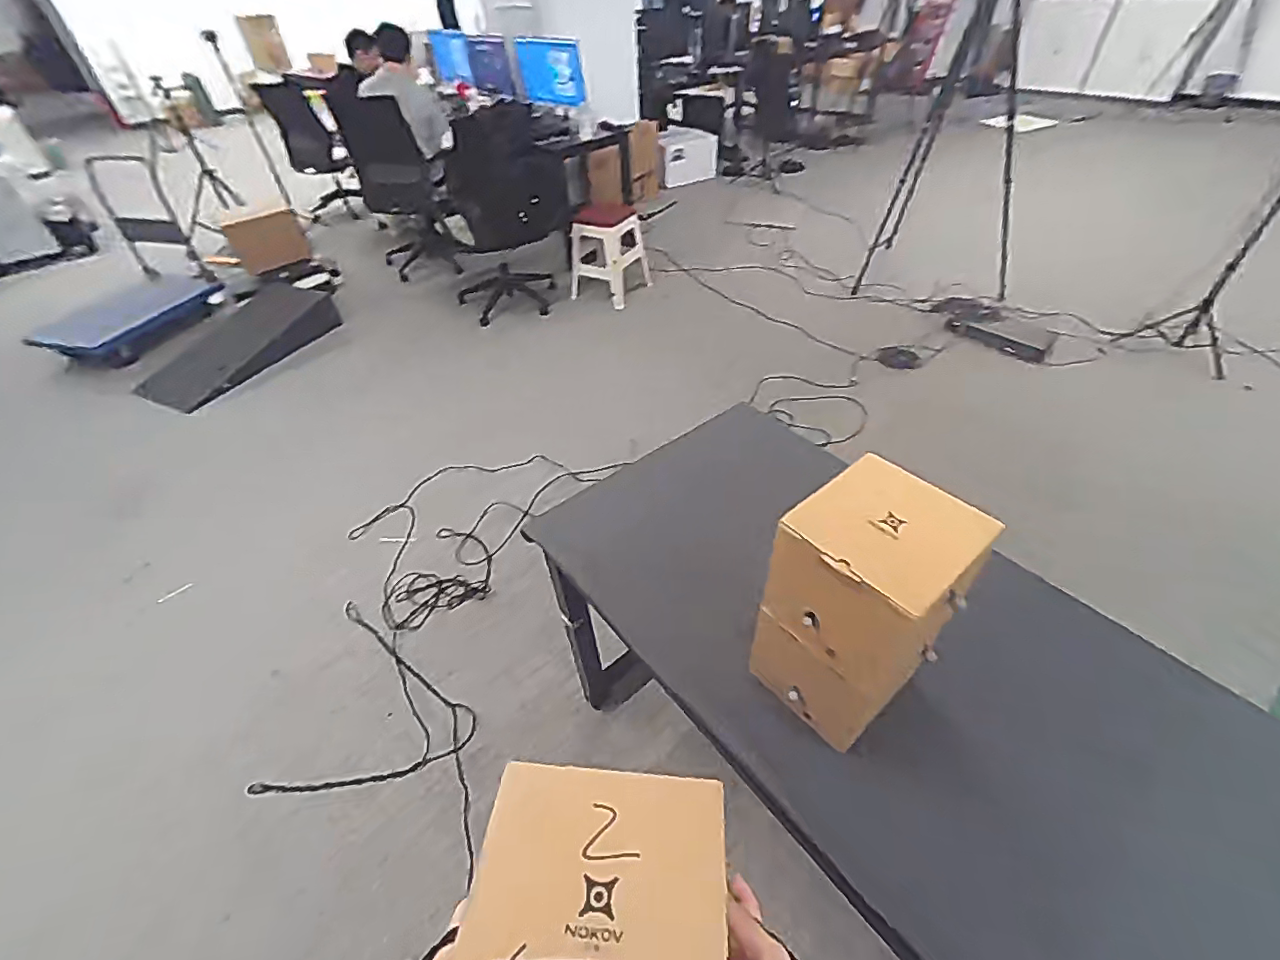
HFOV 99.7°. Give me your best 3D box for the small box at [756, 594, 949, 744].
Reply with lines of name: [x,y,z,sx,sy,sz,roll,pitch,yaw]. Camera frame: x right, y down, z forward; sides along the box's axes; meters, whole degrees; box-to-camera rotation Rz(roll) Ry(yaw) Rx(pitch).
small box: [0.277,0.218,0.743,0.179,0.176,0.168,-31,49,-26]

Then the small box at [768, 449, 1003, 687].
small box: [0.269,0.100,0.632,0.179,0.176,0.168,-31,50,-26]
